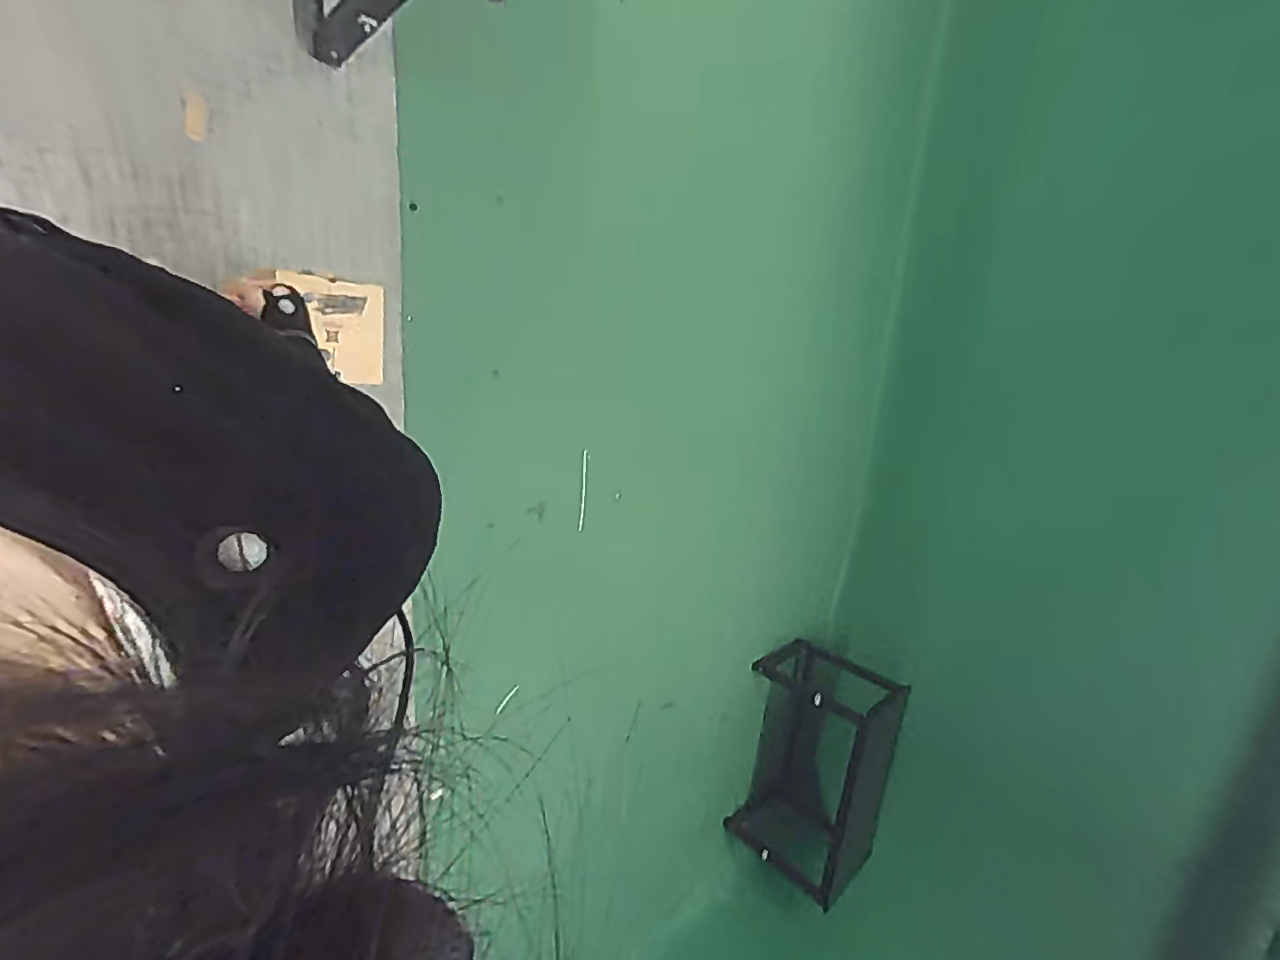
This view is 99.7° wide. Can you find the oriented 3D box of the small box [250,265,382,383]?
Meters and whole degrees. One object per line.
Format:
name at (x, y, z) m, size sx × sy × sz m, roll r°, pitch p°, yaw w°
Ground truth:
small box at (-0.580, -0.274, 0.966) m, size 0.168 × 0.176 × 0.179 m, roll -6°, pitch 109°, yaw -45°
